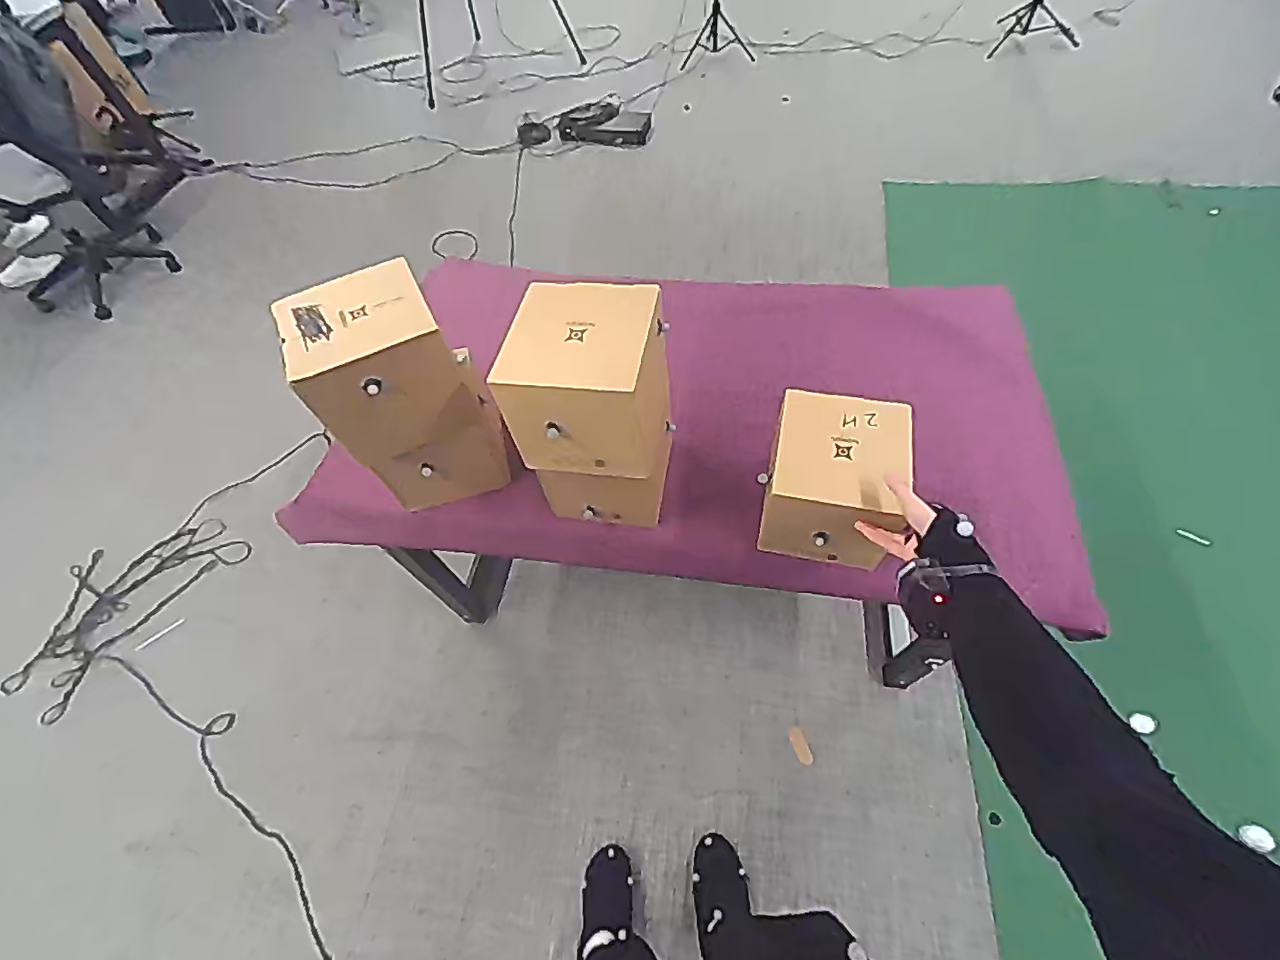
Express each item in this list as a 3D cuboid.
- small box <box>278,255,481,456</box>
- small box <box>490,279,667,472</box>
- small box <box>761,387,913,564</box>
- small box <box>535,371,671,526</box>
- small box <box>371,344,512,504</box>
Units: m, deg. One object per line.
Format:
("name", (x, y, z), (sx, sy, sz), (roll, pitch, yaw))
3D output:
("small box", (-0.338, -0.160, 0.722), (0.179, 0.176, 0.168), (-25, 58, -12))
("small box", (-0.060, -0.127, 0.679), (0.168, 0.176, 0.179), (5, 56, 10))
("small box", (0.268, -0.002, 0.759), (0.168, 0.176, 0.179), (10, 59, 11))
("small box", (-0.045, -0.053, 0.823), (0.168, 0.176, 0.179), (6, 58, 10))
("small box", (-0.321, -0.083, 0.868), (0.179, 0.176, 0.168), (-15, 57, -4))
